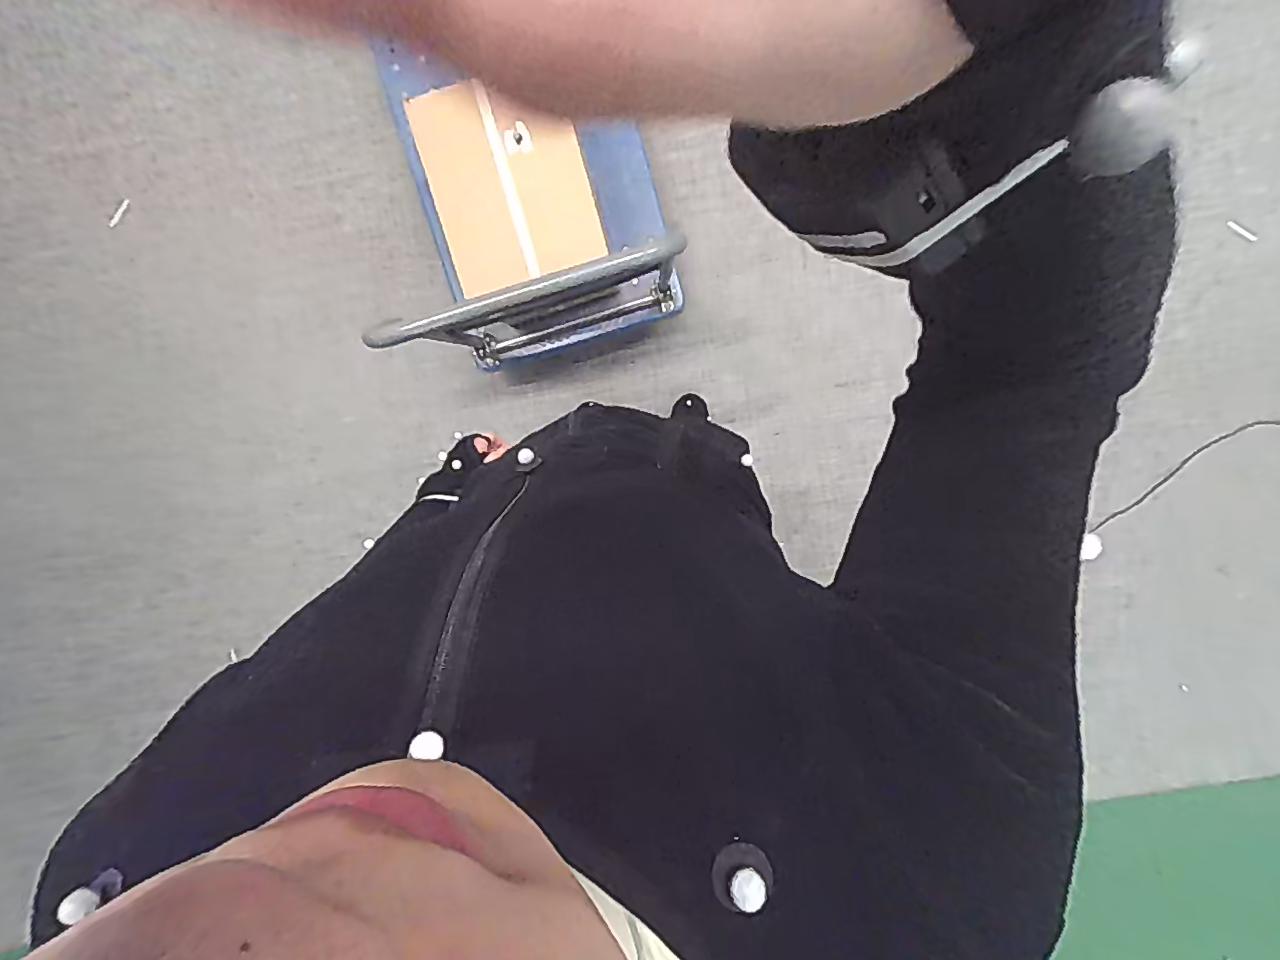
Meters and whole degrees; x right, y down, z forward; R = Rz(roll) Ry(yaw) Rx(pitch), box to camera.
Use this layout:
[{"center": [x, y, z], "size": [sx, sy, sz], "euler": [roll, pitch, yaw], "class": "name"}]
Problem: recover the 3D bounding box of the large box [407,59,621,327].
[{"center": [-0.254, -0.608, 1.229], "size": [0.320, 0.320, 0.408], "euler": [-16, 96, 4], "class": "large box"}]
